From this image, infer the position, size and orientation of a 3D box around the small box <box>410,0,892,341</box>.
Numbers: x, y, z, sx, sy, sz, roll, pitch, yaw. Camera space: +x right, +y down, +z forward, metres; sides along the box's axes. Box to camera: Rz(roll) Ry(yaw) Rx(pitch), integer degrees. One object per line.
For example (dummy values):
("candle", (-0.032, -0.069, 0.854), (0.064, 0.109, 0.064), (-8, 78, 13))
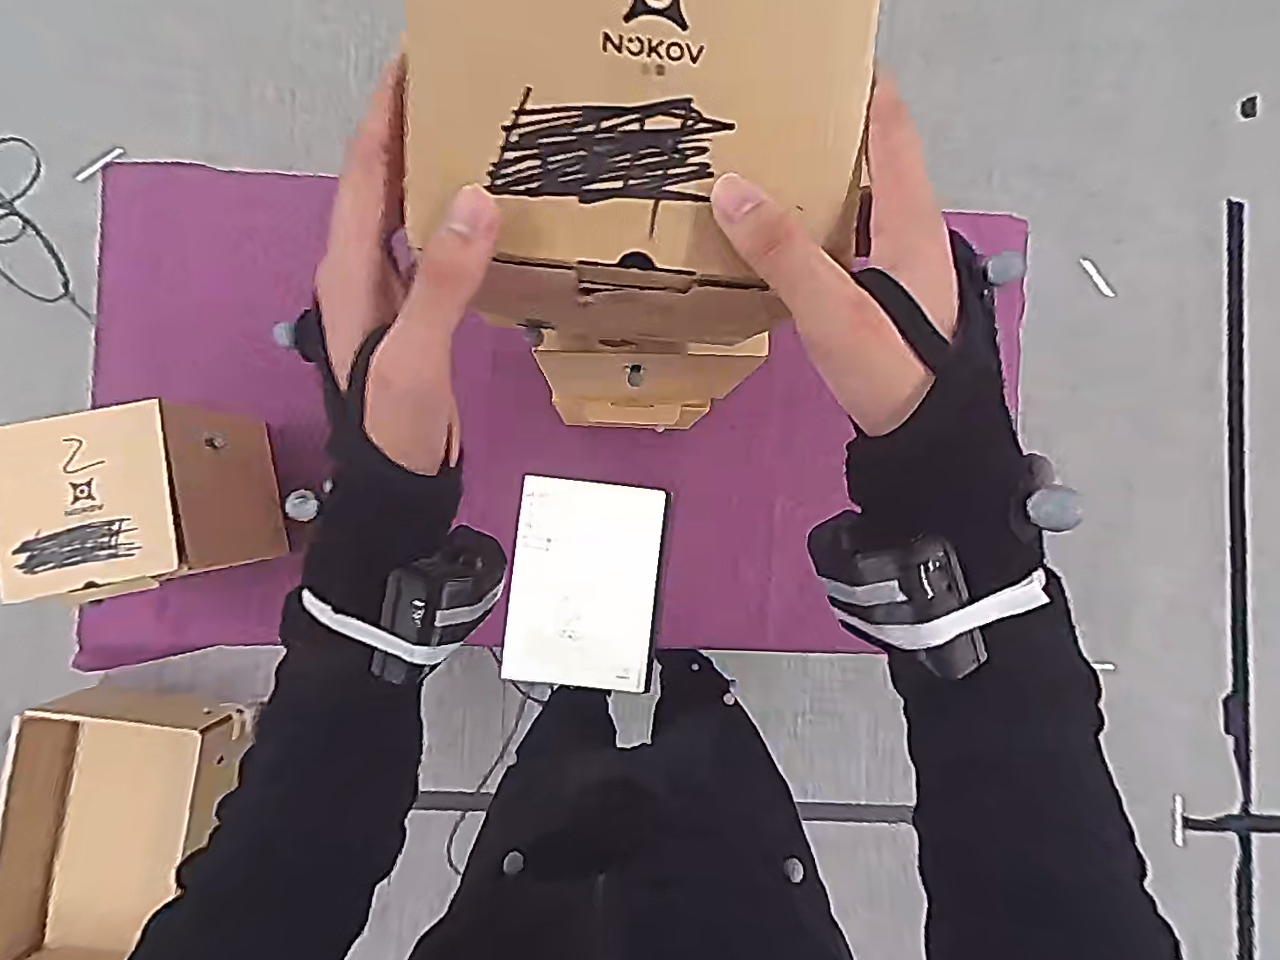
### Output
("small box", (0.001, -0.170, 0.265), (0.168, 0.176, 0.179), (3, 95, -6))

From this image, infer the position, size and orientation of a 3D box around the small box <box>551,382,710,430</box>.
("small box", (-0.007, -0.156, 0.633), (0.168, 0.176, 0.179), (3, 88, -3))

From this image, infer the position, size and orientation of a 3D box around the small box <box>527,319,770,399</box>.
("small box", (0.005, -0.167, 0.469), (0.179, 0.176, 0.168), (2, 88, -4))
